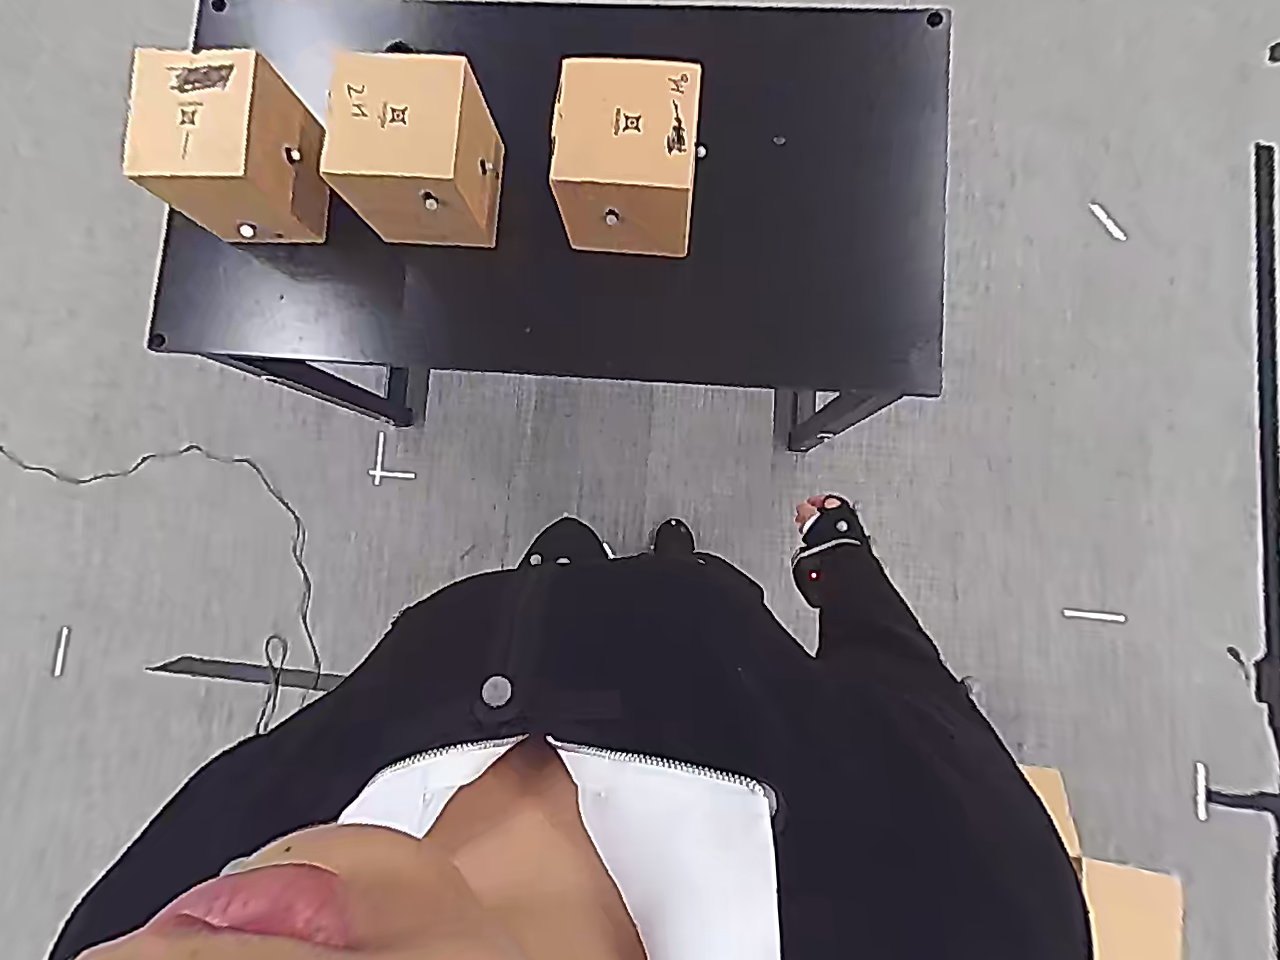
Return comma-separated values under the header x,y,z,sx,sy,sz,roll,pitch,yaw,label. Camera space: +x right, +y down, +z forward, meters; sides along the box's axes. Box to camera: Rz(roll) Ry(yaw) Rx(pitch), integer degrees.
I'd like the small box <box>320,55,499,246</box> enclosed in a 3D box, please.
x,y,z,sx,sy,sz,roll,pitch,yaw,label
-0.310,-0.452,0.765,0.179,0.176,0.168,3,85,3,small box

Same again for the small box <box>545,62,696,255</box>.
x,y,z,sx,sy,sz,roll,pitch,yaw,label
-0.018,-0.432,0.751,0.179,0.176,0.168,5,85,4,small box

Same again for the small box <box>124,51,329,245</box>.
x,y,z,sx,sy,sz,roll,pitch,yaw,label
-0.576,-0.467,0.780,0.168,0.176,0.179,2,86,3,small box
